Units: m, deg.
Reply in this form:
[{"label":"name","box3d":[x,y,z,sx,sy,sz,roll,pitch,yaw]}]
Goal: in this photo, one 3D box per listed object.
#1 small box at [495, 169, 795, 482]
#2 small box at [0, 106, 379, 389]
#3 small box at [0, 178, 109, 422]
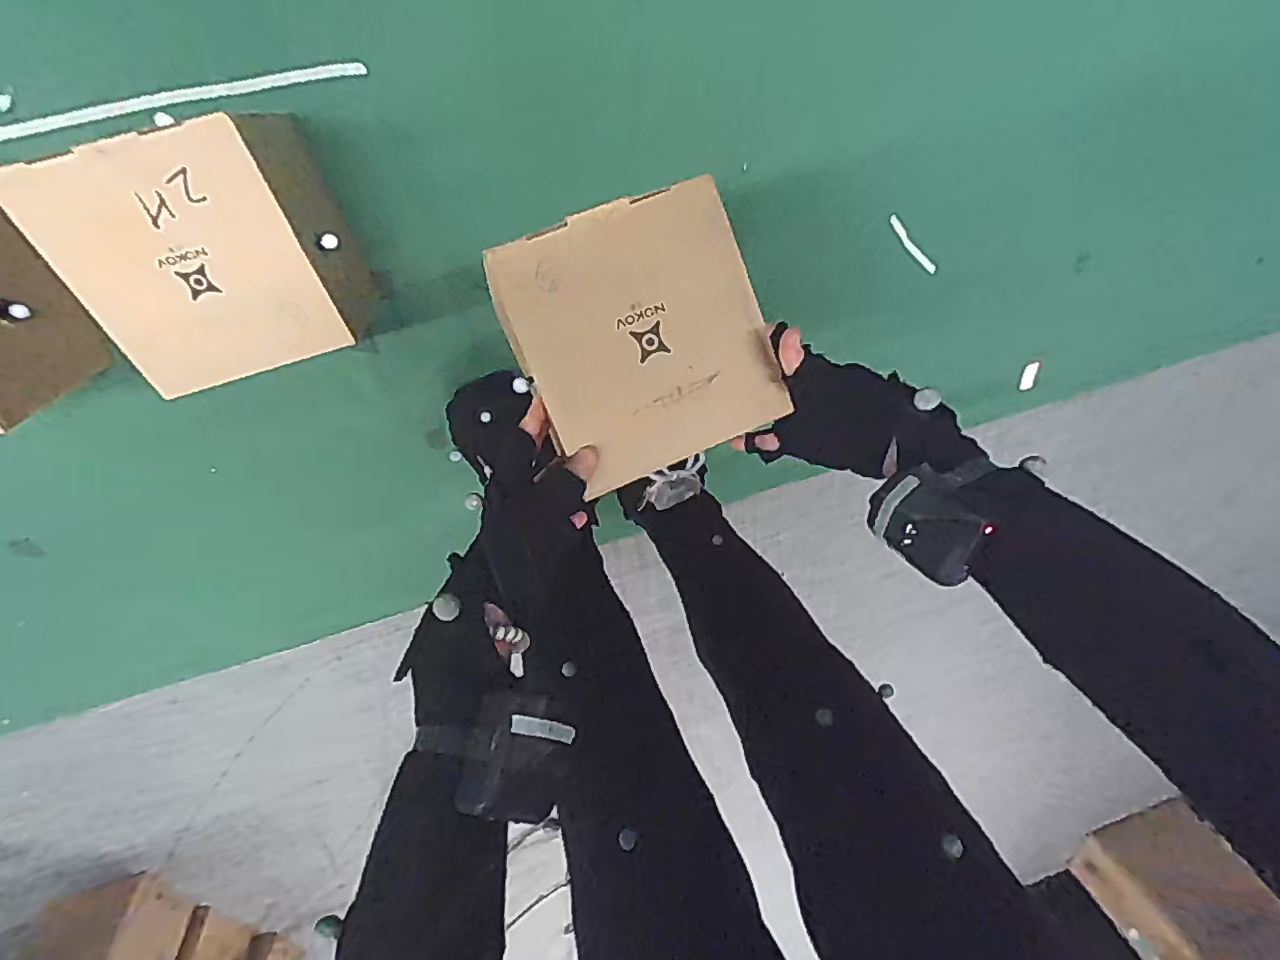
[{"label":"small box","box3d":[-0.008,-0.109,0.444,0.168,0.176,0.179,-23,97,-9]},{"label":"small box","box3d":[-0.353,-0.208,0.476,0.168,0.176,0.179,-18,125,-7]},{"label":"small box","box3d":[-0.602,-0.153,0.434,0.168,0.176,0.179,-7,125,-12]}]
